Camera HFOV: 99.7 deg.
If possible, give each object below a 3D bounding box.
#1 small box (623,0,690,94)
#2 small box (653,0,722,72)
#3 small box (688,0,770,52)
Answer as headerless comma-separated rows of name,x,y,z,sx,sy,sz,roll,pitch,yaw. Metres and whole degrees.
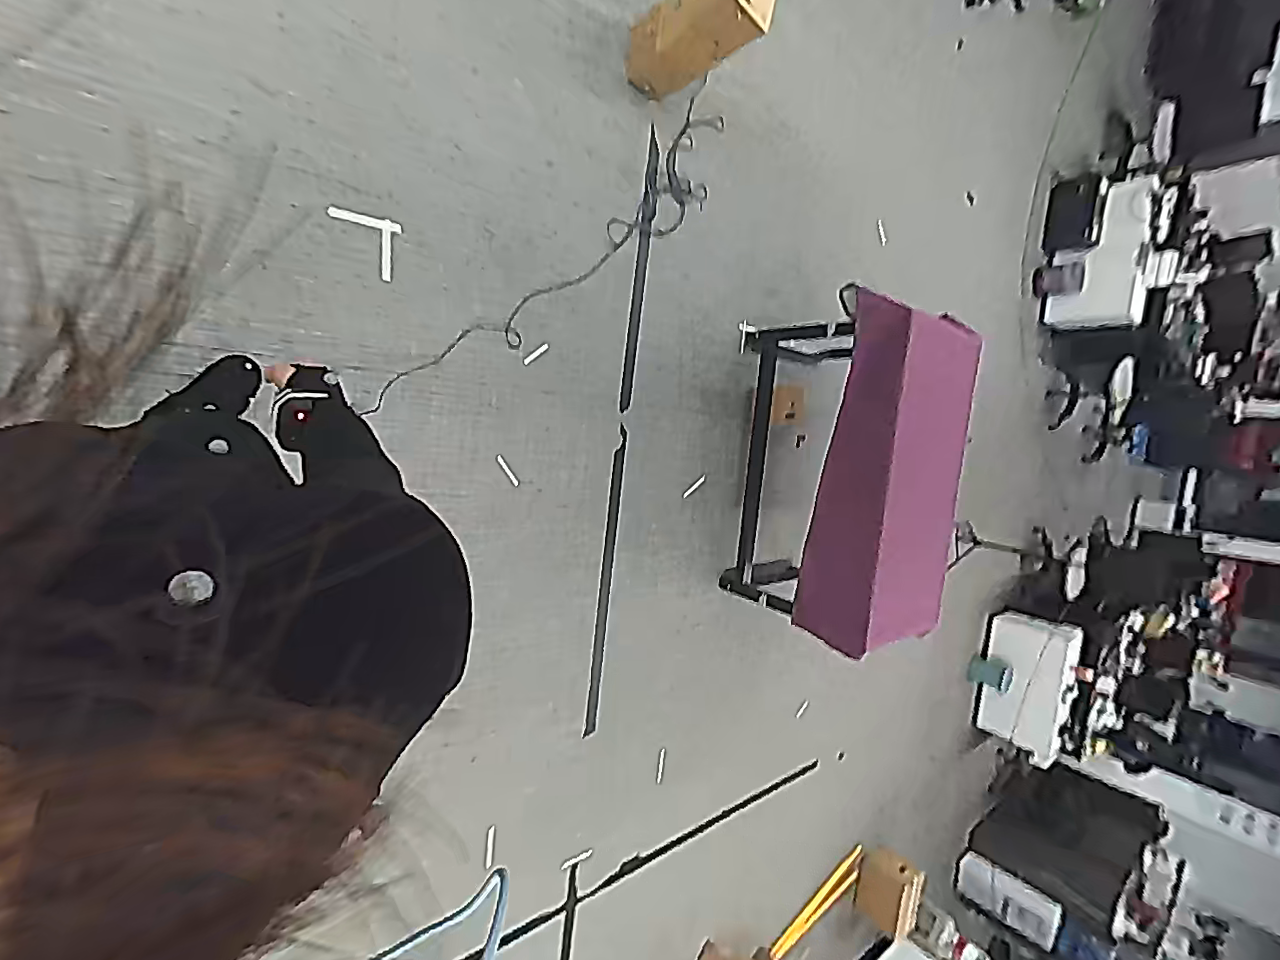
small box,0.060,-1.448,1.809,0.168,0.176,0.179,2,97,-38
small box,0.161,-1.425,1.684,0.179,0.176,0.168,4,95,-39
small box,0.261,-1.400,1.555,0.168,0.176,0.179,14,88,-39
